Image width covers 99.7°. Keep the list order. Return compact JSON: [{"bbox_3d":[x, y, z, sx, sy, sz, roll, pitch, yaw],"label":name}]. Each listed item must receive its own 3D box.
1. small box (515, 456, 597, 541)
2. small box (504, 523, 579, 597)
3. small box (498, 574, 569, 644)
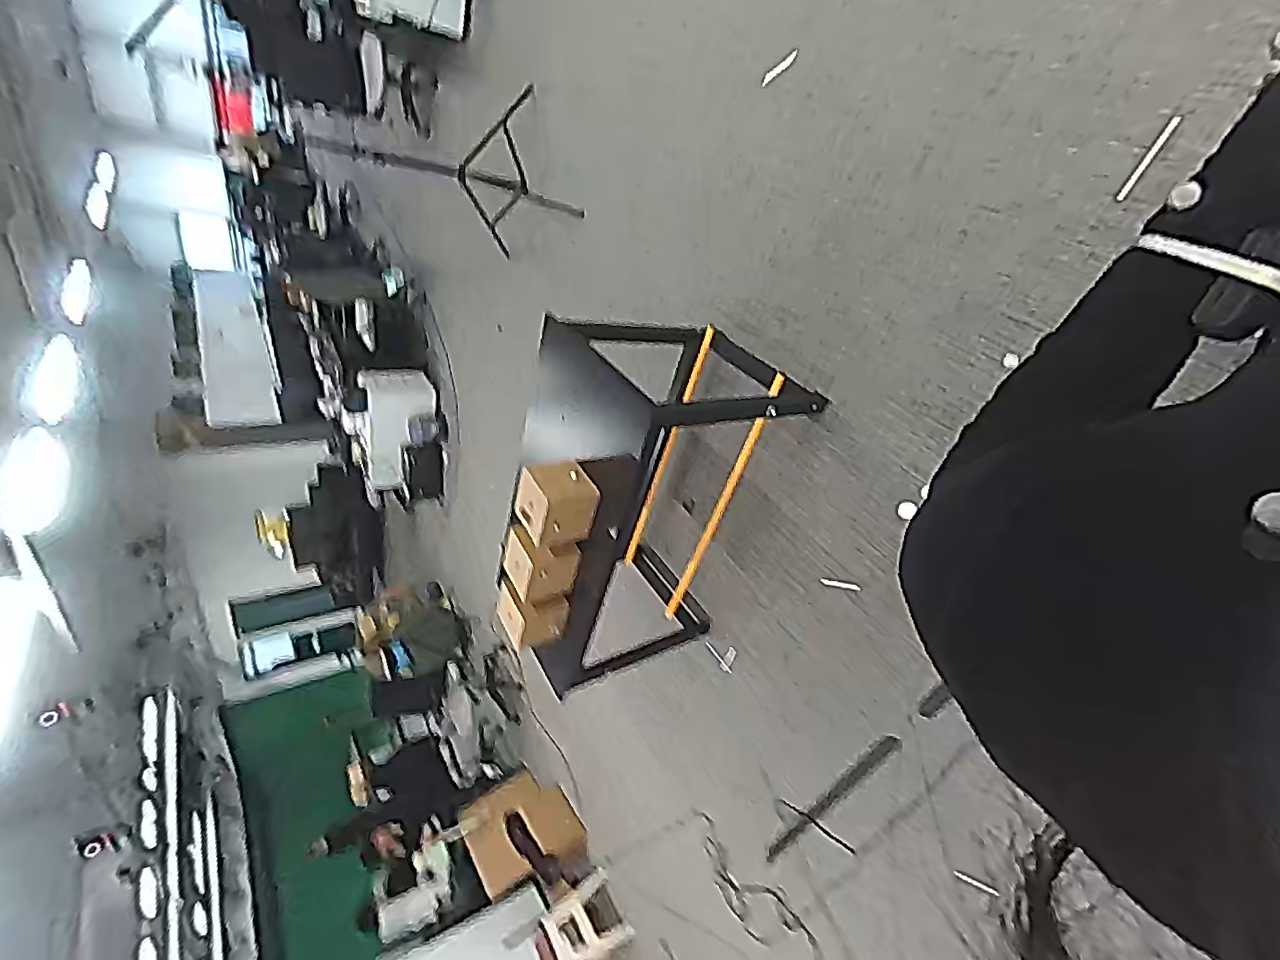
[{"bbox_3d":[-0.244,0.050,1.574,0.168,0.176,0.179,49,134,36],"label":"small box"},{"bbox_3d":[-0.312,0.237,1.712,0.168,0.176,0.179,50,135,36],"label":"small box"},{"bbox_3d":[-0.362,0.417,1.827,0.179,0.176,0.168,48,135,36],"label":"small box"}]
